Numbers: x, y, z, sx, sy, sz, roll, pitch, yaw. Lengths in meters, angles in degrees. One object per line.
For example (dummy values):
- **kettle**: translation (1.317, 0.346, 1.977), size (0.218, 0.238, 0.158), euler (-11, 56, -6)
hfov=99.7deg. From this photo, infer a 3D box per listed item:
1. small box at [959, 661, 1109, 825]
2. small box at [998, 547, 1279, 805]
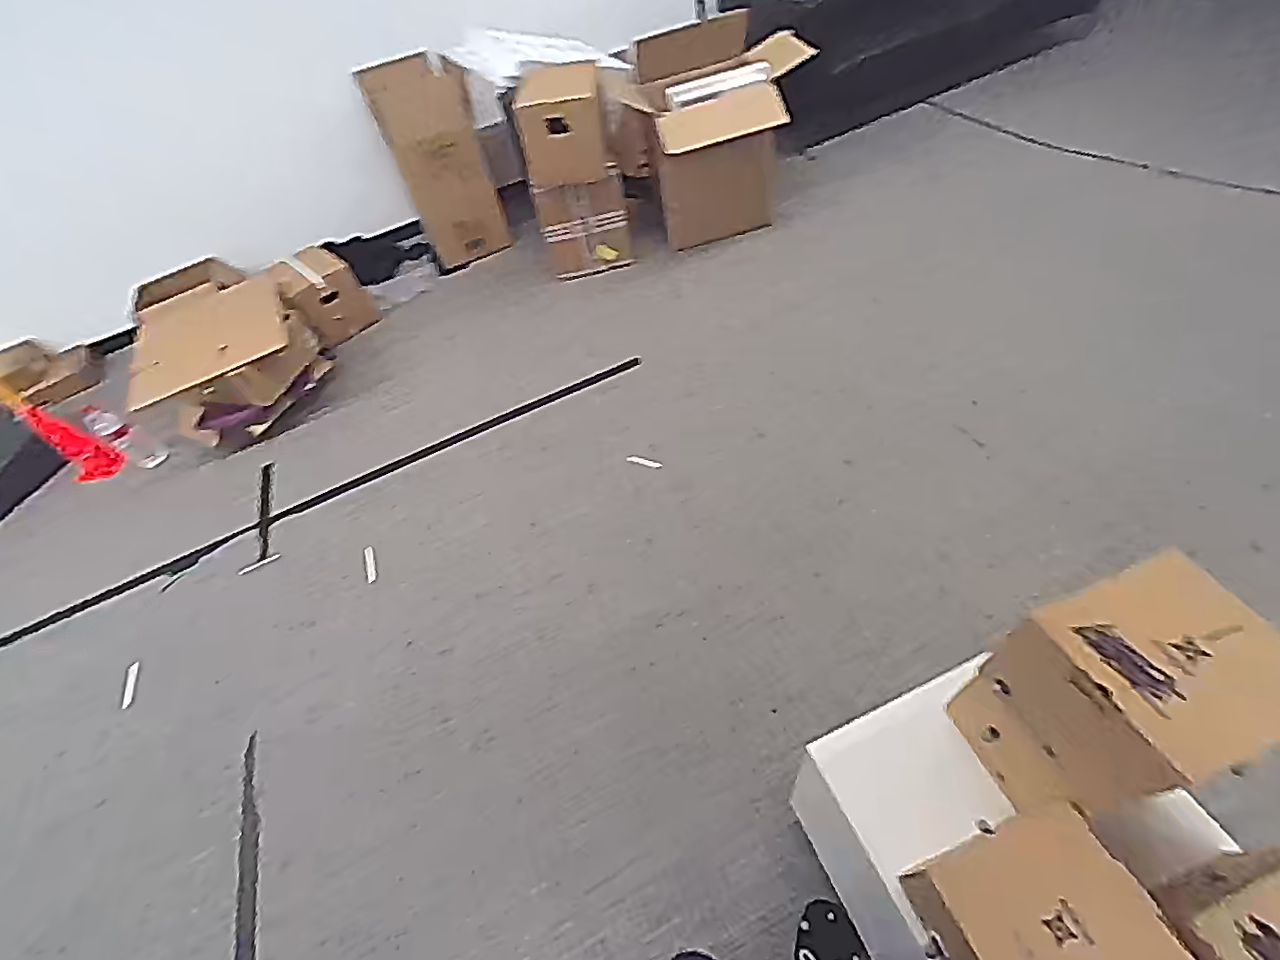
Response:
- **small box**: translation (0.533, 0.305, 0.673), size (0.179, 0.176, 0.168), euler (-21, 52, -4)
- **small box**: translation (0.504, 0.203, 0.547), size (0.179, 0.176, 0.168), euler (-21, 52, -6)
